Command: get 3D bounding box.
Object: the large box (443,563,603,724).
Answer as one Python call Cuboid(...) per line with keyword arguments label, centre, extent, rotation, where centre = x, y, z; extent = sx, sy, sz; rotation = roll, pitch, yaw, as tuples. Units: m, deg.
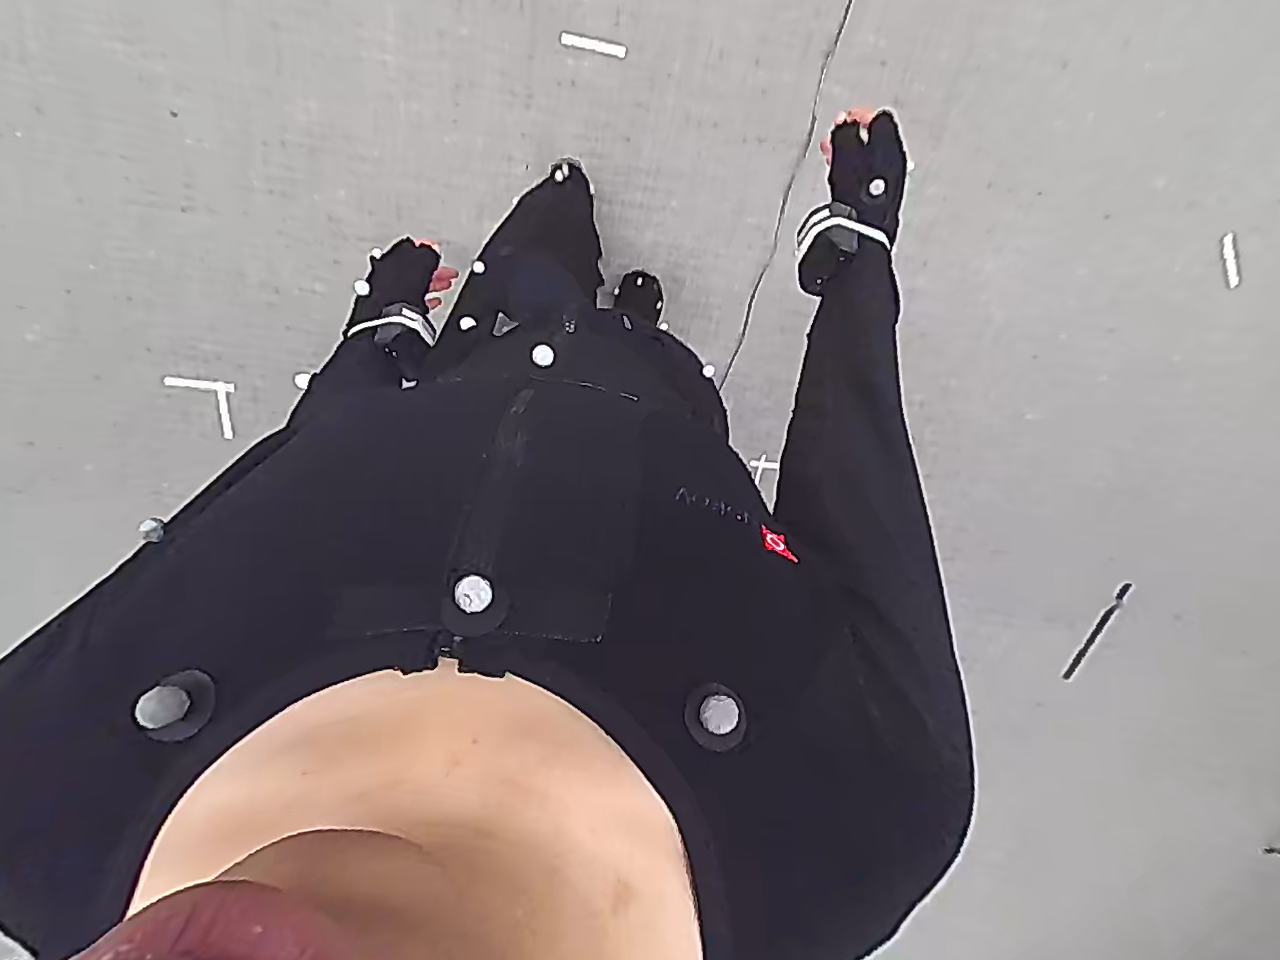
Cuboid(label="large box", centre=(-0.330, 0.469, 1.588), extent=(0.408, 0.320, 0.320), rotation=(8, 113, -5))
